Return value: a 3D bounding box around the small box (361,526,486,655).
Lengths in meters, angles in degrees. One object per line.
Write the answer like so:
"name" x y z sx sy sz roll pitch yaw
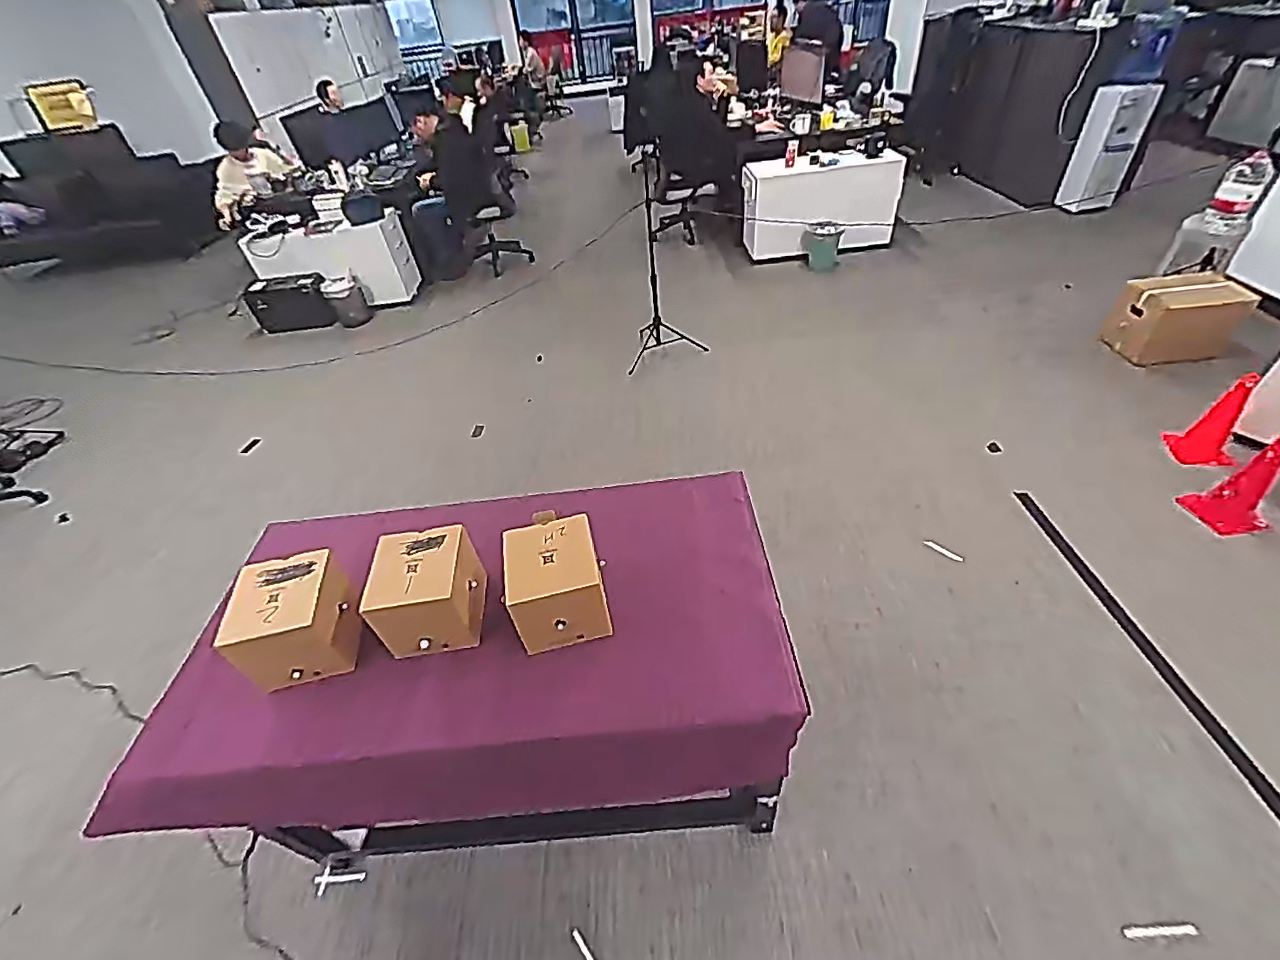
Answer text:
"small box" -0.410 0.217 1.063 0.168 0.176 0.179 -9 43 -1

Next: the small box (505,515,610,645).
"small box" -0.158 0.199 1.044 0.168 0.176 0.179 -12 42 -5
